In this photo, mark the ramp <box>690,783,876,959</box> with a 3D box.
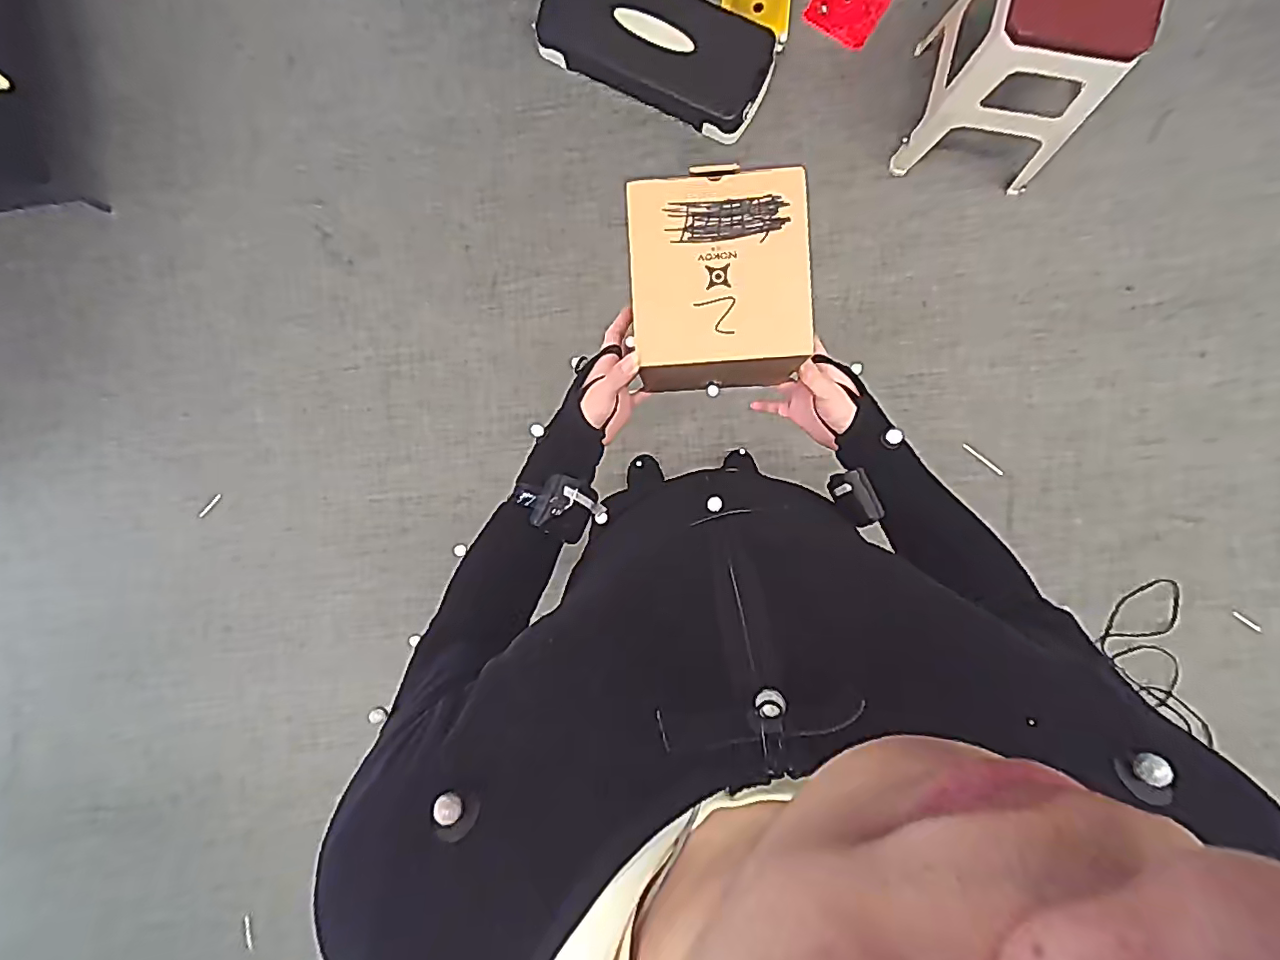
[{"bbox_3d":[0.438,1.428,1.568,0.509,0.206,0.991,-8,91,5],"label":"ramp"}]
